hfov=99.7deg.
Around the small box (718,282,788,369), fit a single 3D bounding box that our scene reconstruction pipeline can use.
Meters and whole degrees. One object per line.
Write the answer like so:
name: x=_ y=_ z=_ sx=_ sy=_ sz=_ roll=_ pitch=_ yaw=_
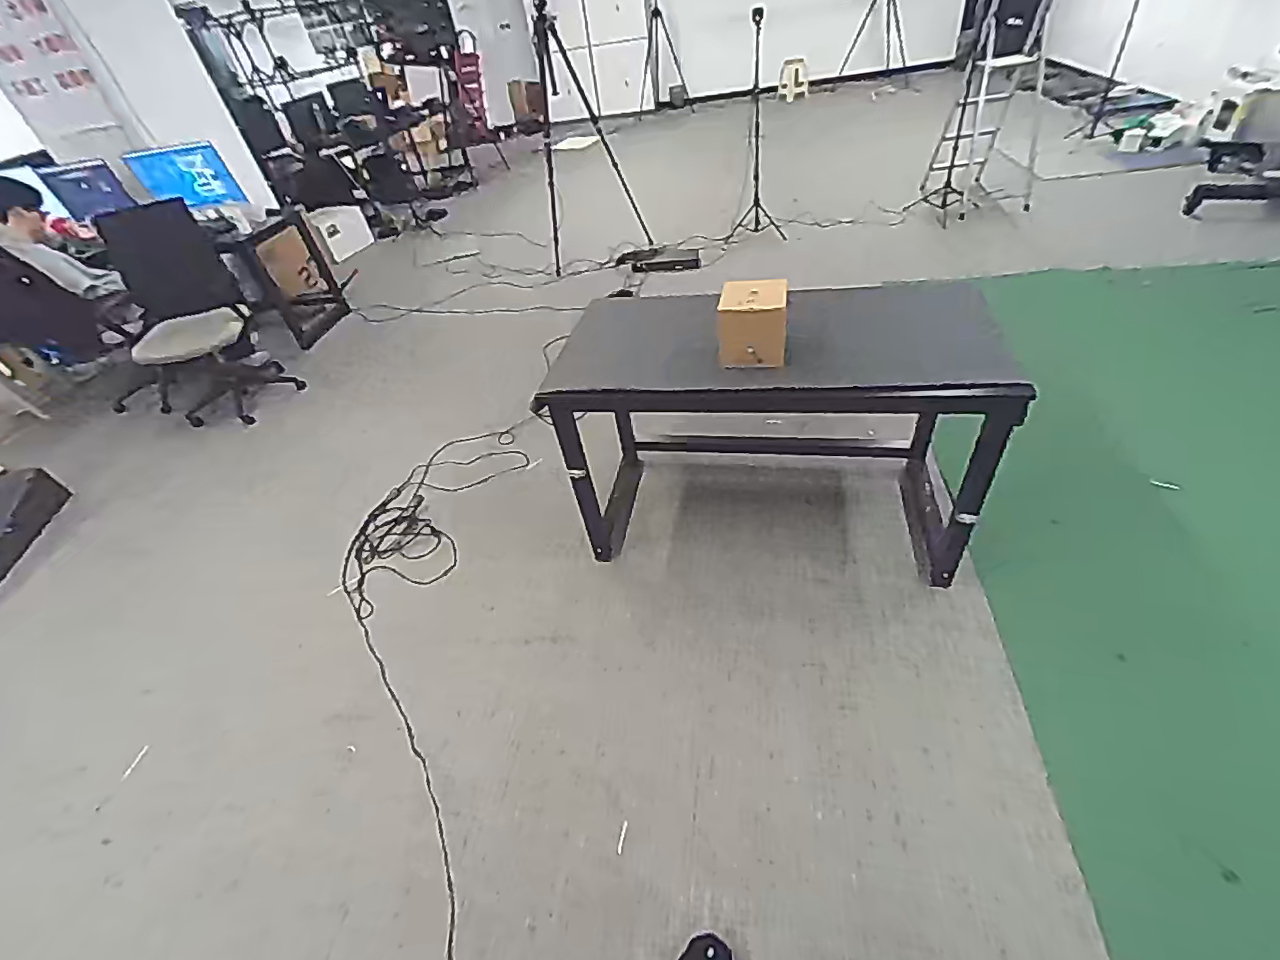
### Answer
small box: x=0.304 y=-0.414 z=1.448 sx=0.168 sy=0.176 sz=0.179 roll=2 pitch=42 yaw=15
